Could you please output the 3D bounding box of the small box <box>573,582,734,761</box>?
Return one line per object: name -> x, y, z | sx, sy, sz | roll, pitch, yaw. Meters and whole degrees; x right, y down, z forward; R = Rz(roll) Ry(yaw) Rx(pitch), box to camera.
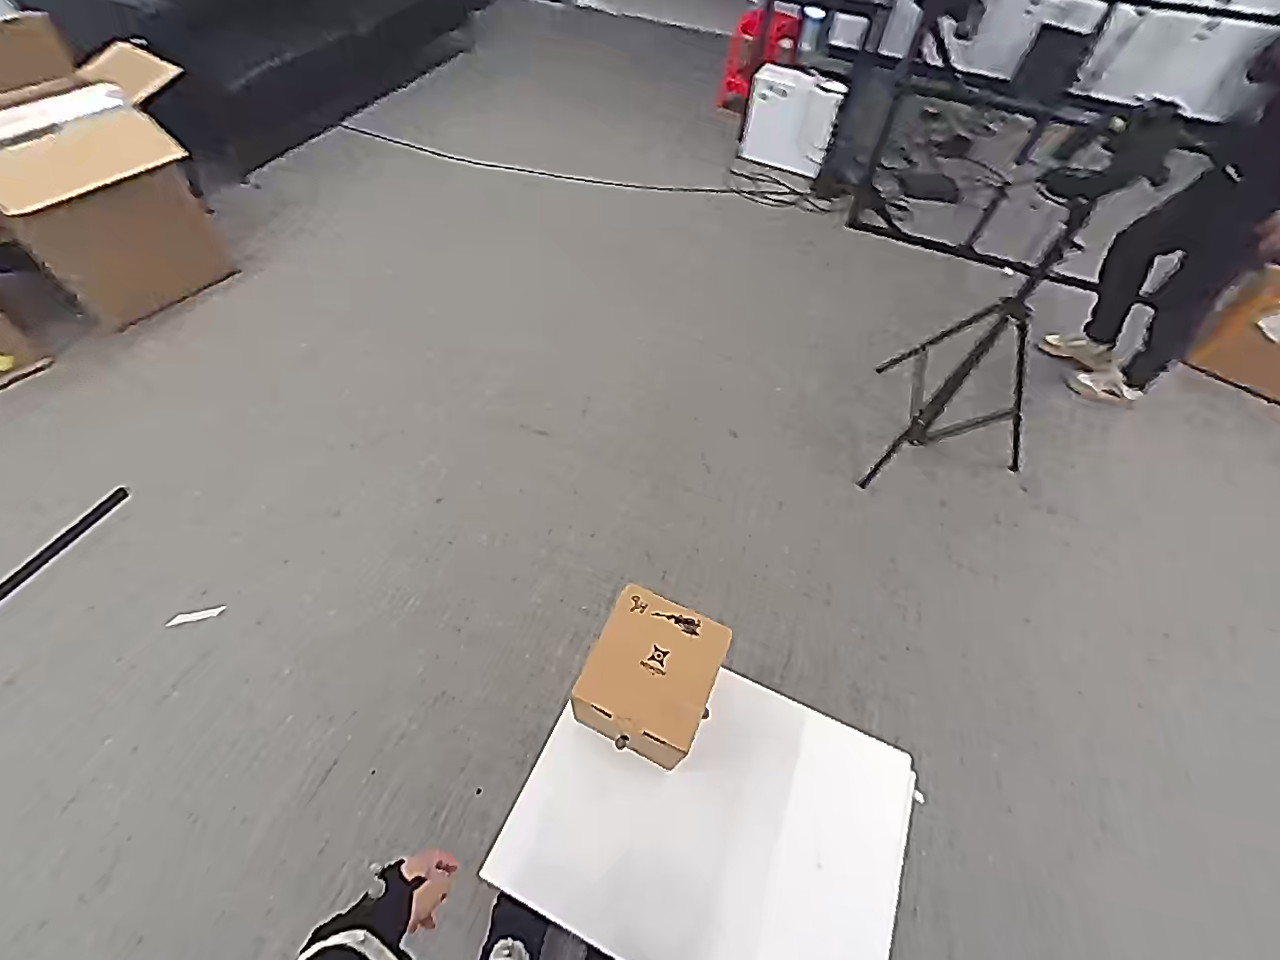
small box -> 0.019, 0.284, 0.787 | 0.168, 0.176, 0.179 | 23, 59, 11
